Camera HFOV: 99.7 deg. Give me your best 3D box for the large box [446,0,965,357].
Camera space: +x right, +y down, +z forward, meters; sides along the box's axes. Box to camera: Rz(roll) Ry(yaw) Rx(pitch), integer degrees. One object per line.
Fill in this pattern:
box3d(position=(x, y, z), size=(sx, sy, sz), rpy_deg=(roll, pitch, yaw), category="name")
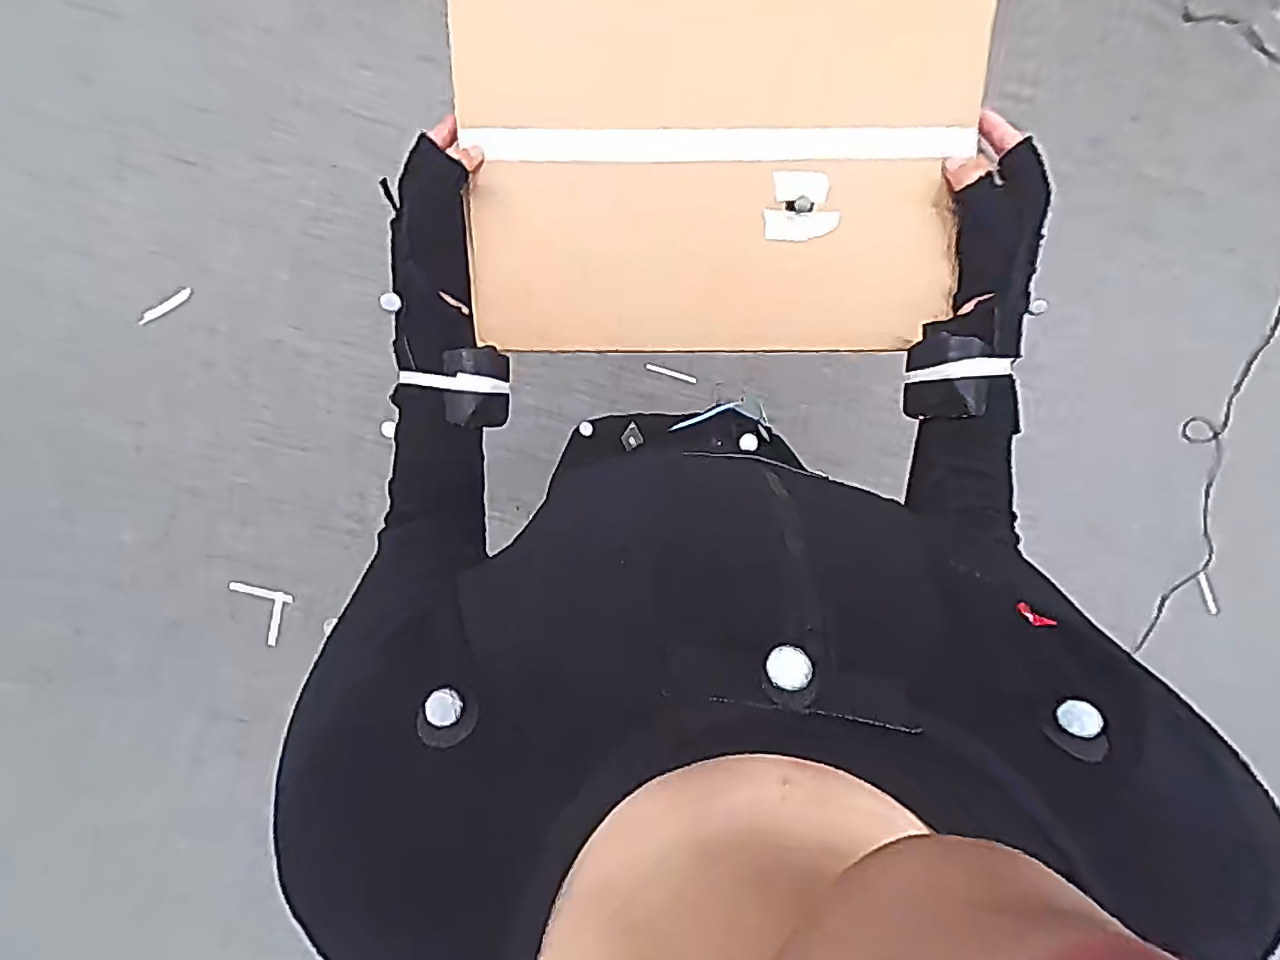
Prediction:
box3d(position=(0.049, -0.305, 0.583), size=(0.408, 0.320, 0.320), rpy_deg=(-1, 107, -1), category="large box")
